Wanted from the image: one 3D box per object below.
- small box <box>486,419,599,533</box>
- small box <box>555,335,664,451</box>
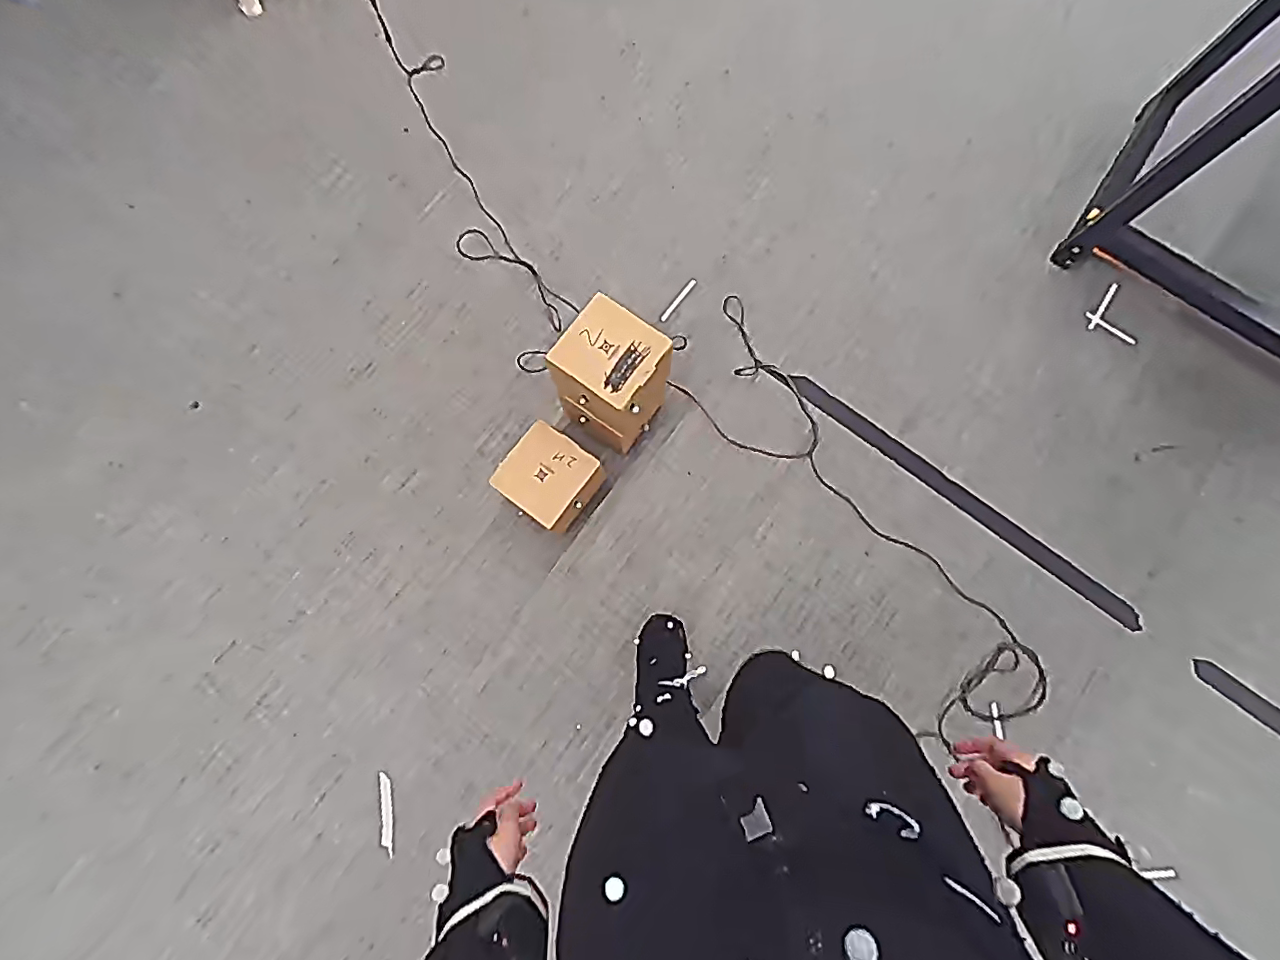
[{"bbox_3d":[-0.201,0.000,1.183,0.168,0.176,0.179,37,81,5],"label":"small box"},{"bbox_3d":[-0.067,-0.185,1.221,0.179,0.176,0.168,35,81,5],"label":"small box"}]
